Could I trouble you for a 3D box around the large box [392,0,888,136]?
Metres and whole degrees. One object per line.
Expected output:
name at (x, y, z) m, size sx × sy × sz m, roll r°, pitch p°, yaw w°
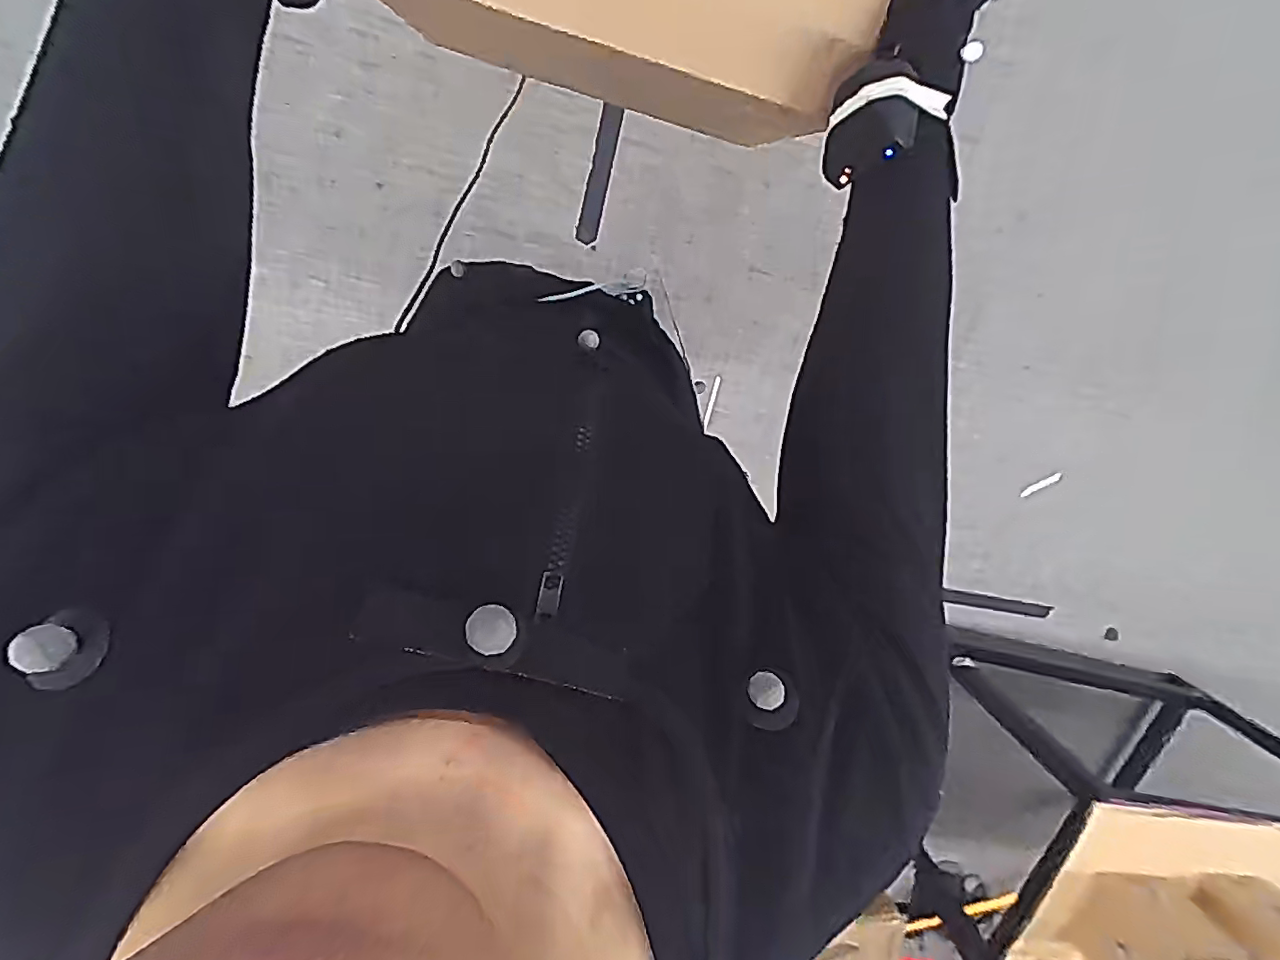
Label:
large box at (0.000, -0.533, 0.464) m, size 0.408 × 0.320 × 0.320 m, roll 10°, pitch 118°, yaw -11°
